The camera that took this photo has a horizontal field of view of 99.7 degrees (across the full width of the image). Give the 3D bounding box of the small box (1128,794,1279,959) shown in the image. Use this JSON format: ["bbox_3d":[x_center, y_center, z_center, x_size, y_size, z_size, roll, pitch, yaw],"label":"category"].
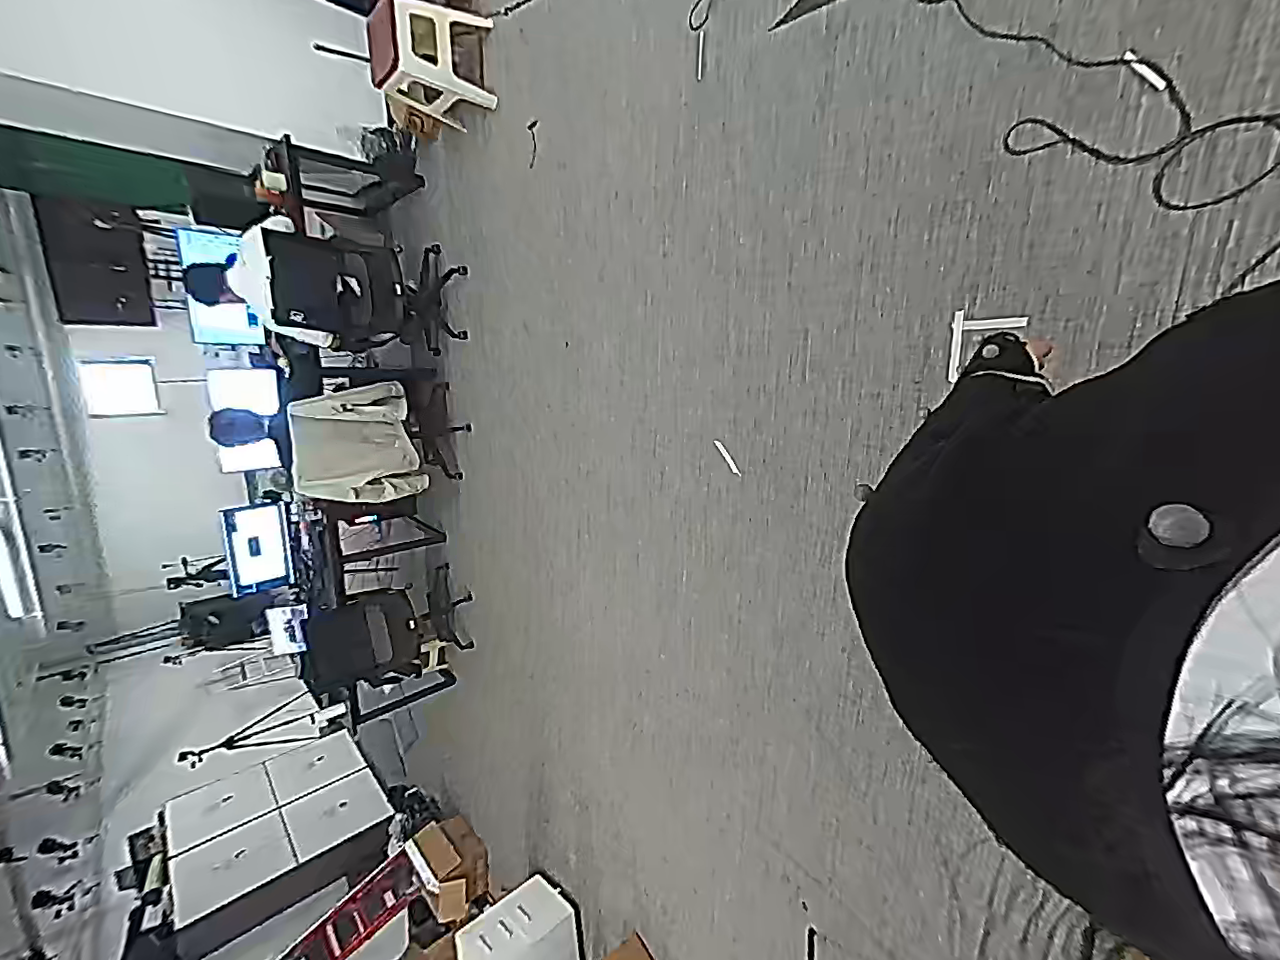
[{"bbox_3d":[0.775,0.567,0.710,0.168,0.176,0.179,13,105,44],"label":"small box"}]
